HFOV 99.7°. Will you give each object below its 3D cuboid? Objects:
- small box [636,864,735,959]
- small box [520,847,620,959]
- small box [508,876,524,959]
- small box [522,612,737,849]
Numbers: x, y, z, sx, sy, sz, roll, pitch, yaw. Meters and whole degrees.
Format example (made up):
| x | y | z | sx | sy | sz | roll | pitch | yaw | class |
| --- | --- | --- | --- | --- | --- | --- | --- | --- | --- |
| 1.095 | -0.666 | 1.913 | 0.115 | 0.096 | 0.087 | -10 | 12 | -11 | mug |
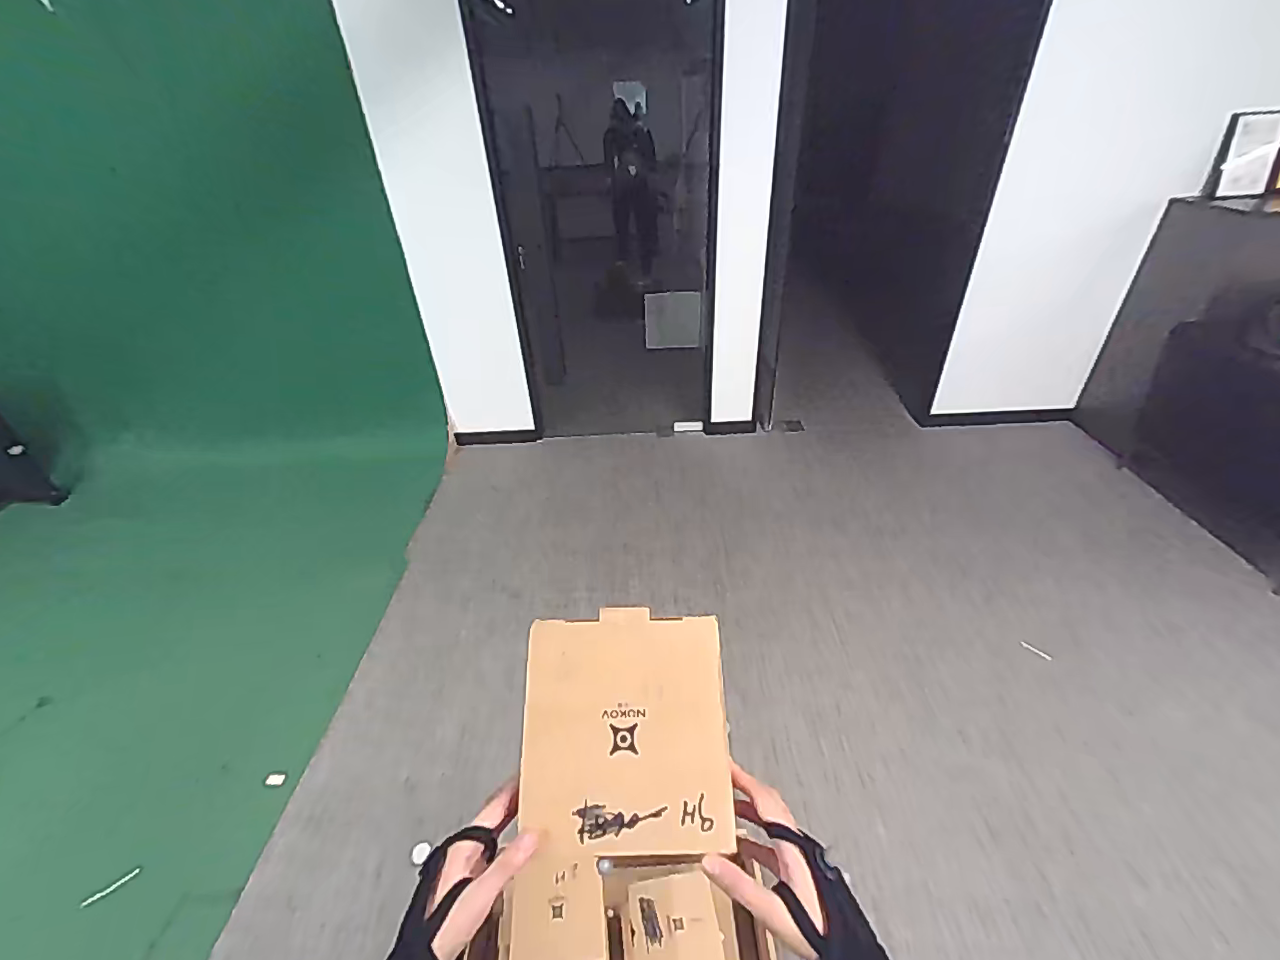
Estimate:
| x | y | z | sx | sy | sz | roll | pitch | yaw | class |
| --- | --- | --- | --- | --- | --- | --- | --- | --- | --- |
| 0.094 | 0.940 | 1.127 | 0.179 | 0.176 | 0.168 | -8 | 37 | -4 | small box |
| -0.128 | 0.828 | 1.027 | 0.168 | 0.176 | 0.179 | -5 | 37 | -5 | small box |
| -0.170 | 0.951 | 1.138 | 0.179 | 0.176 | 0.168 | -4 | 37 | -3 | small box |
| -0.007 | 0.232 | 0.513 | 0.168 | 0.176 | 0.179 | -2 | 64 | 2 | small box |
